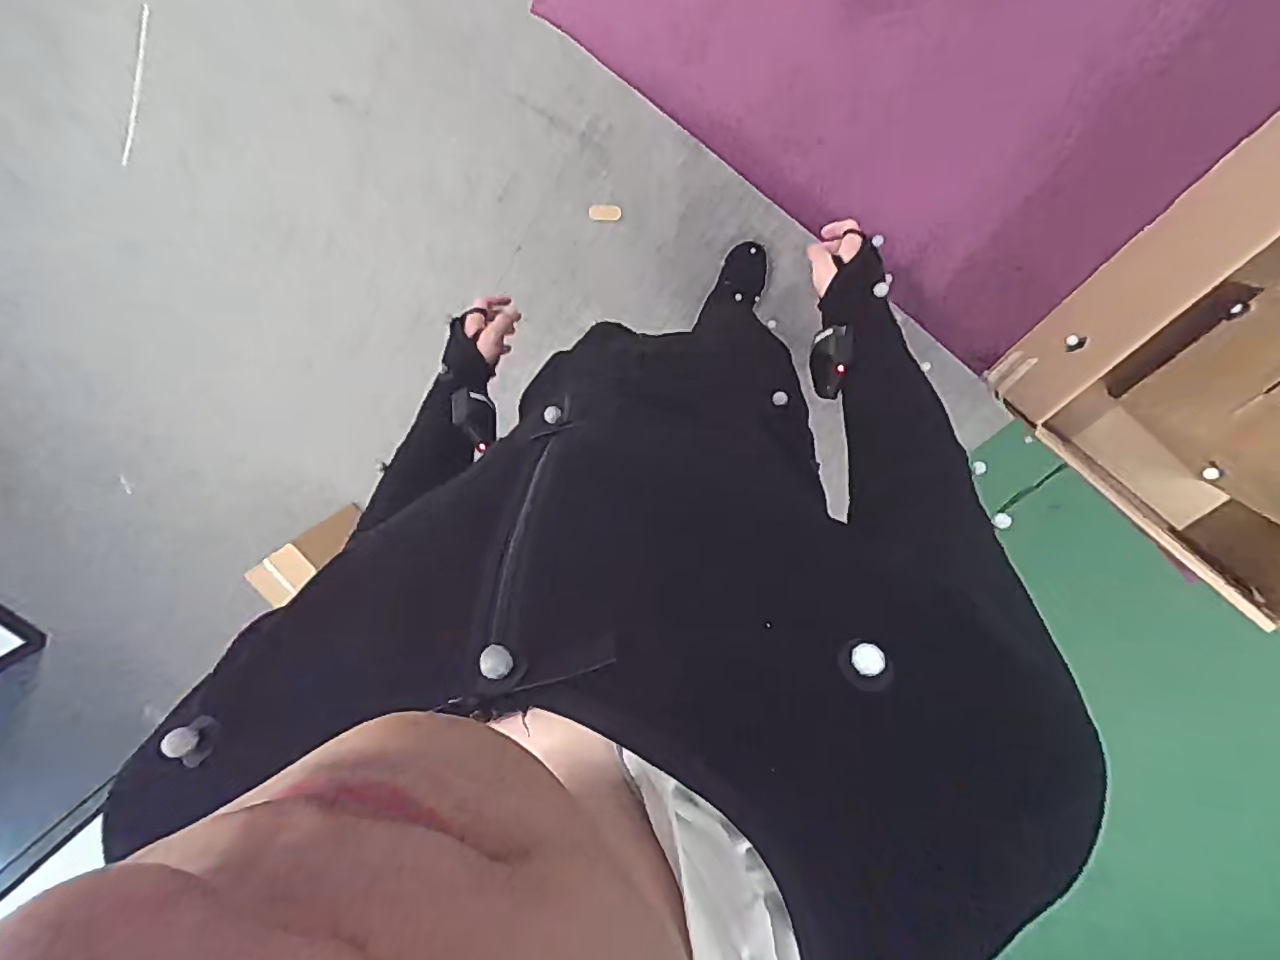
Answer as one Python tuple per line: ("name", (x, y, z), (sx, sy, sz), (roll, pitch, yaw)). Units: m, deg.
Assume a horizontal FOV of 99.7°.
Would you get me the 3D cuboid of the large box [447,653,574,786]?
("large box", (-0.502, 0.938, 2.150), (0.408, 0.320, 0.320), (10, 117, 8))
